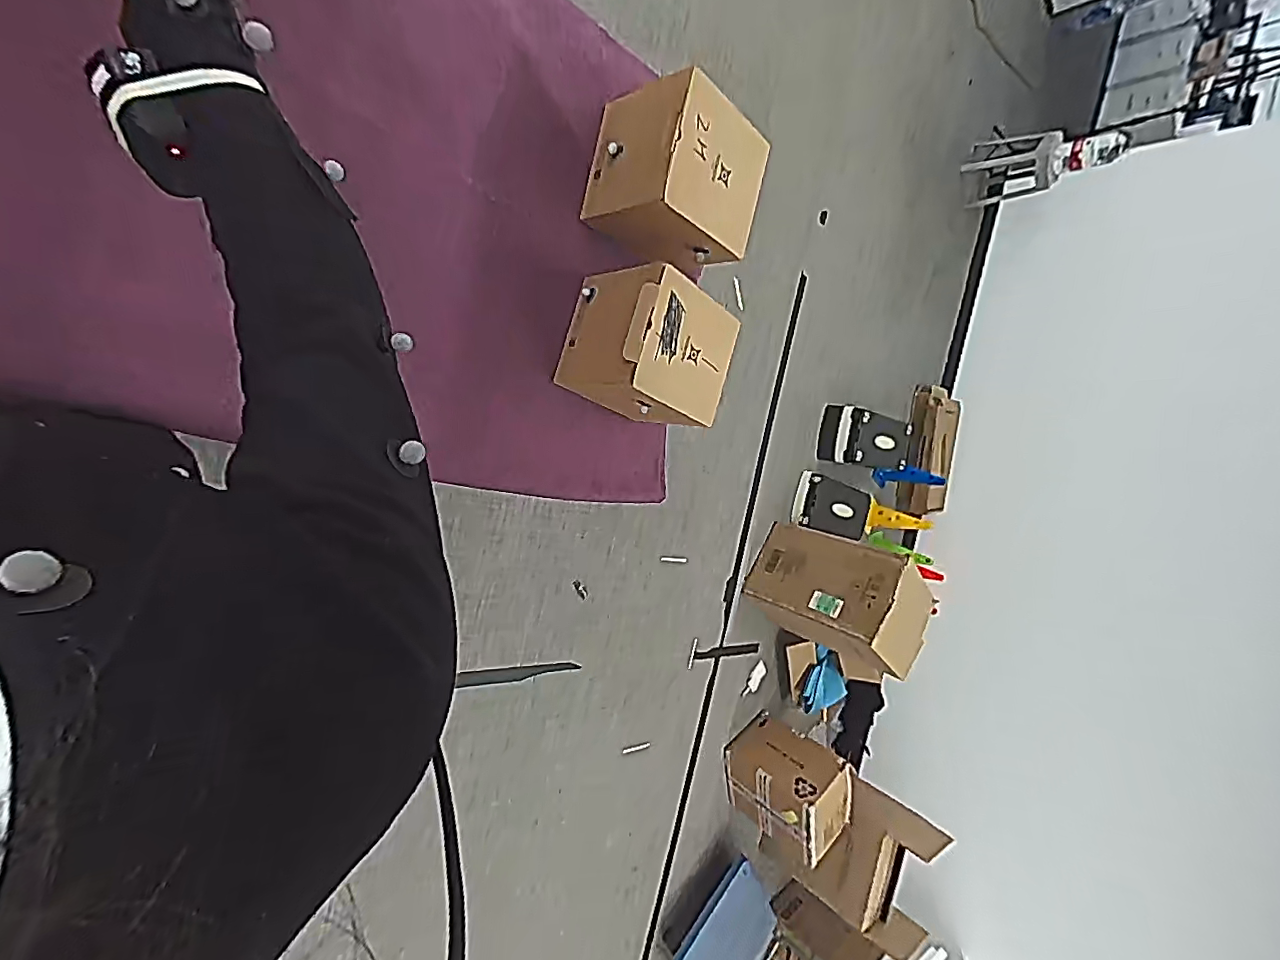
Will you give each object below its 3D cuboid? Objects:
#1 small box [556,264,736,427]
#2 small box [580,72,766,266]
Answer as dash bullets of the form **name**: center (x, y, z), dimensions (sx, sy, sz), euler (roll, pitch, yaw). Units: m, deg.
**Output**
- **small box**: center (0.006, -0.184, 0.785), dimensions (0.179, 0.176, 0.168), euler (20, 85, -45)
- **small box**: center (0.046, -0.416, 0.764), dimensions (0.179, 0.176, 0.168), euler (11, 93, -45)
